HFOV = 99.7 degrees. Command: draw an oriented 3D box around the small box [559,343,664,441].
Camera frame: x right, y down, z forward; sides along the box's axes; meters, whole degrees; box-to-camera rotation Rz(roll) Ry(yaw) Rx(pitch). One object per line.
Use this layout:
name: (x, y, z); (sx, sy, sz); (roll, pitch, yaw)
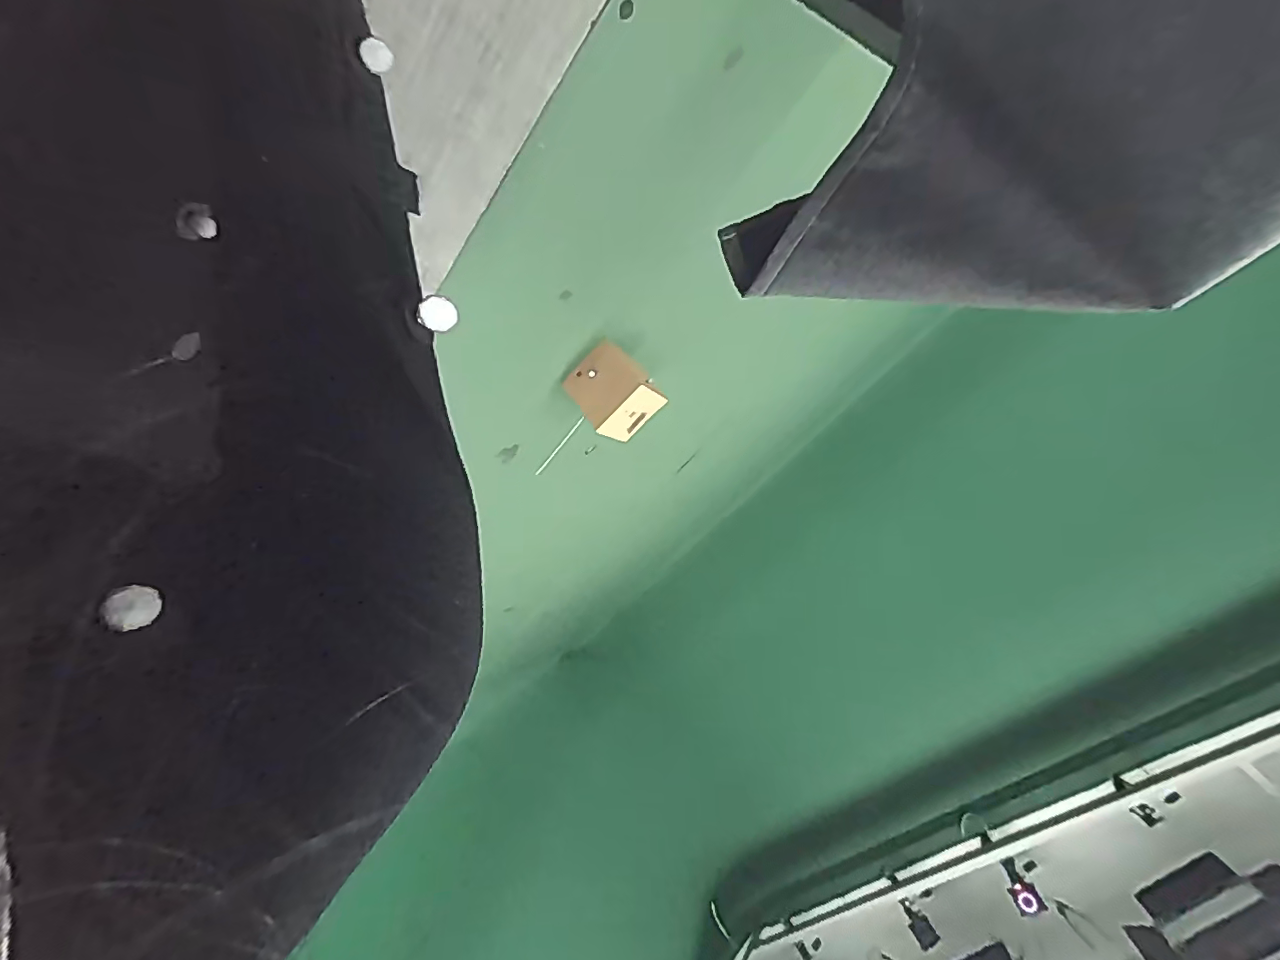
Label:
small box: (-0.073, -0.226, 1.402); (0.168, 0.176, 0.179); (-44, 161, 14)
